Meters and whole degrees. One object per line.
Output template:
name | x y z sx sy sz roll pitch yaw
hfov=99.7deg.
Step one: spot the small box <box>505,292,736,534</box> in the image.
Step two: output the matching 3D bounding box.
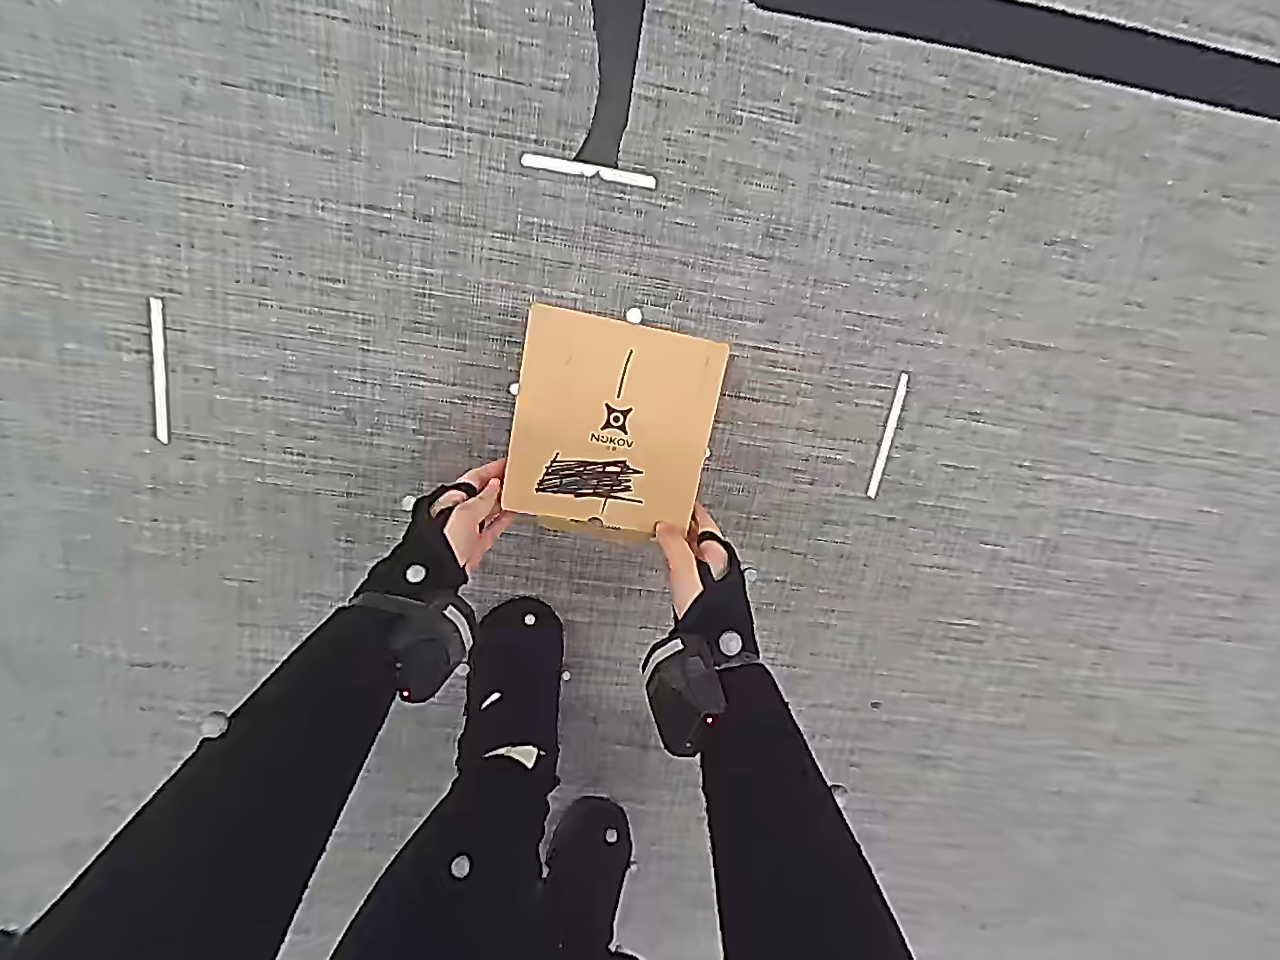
small box | -0.024 -0.069 0.524 0.168 0.176 0.179 11 103 -8
